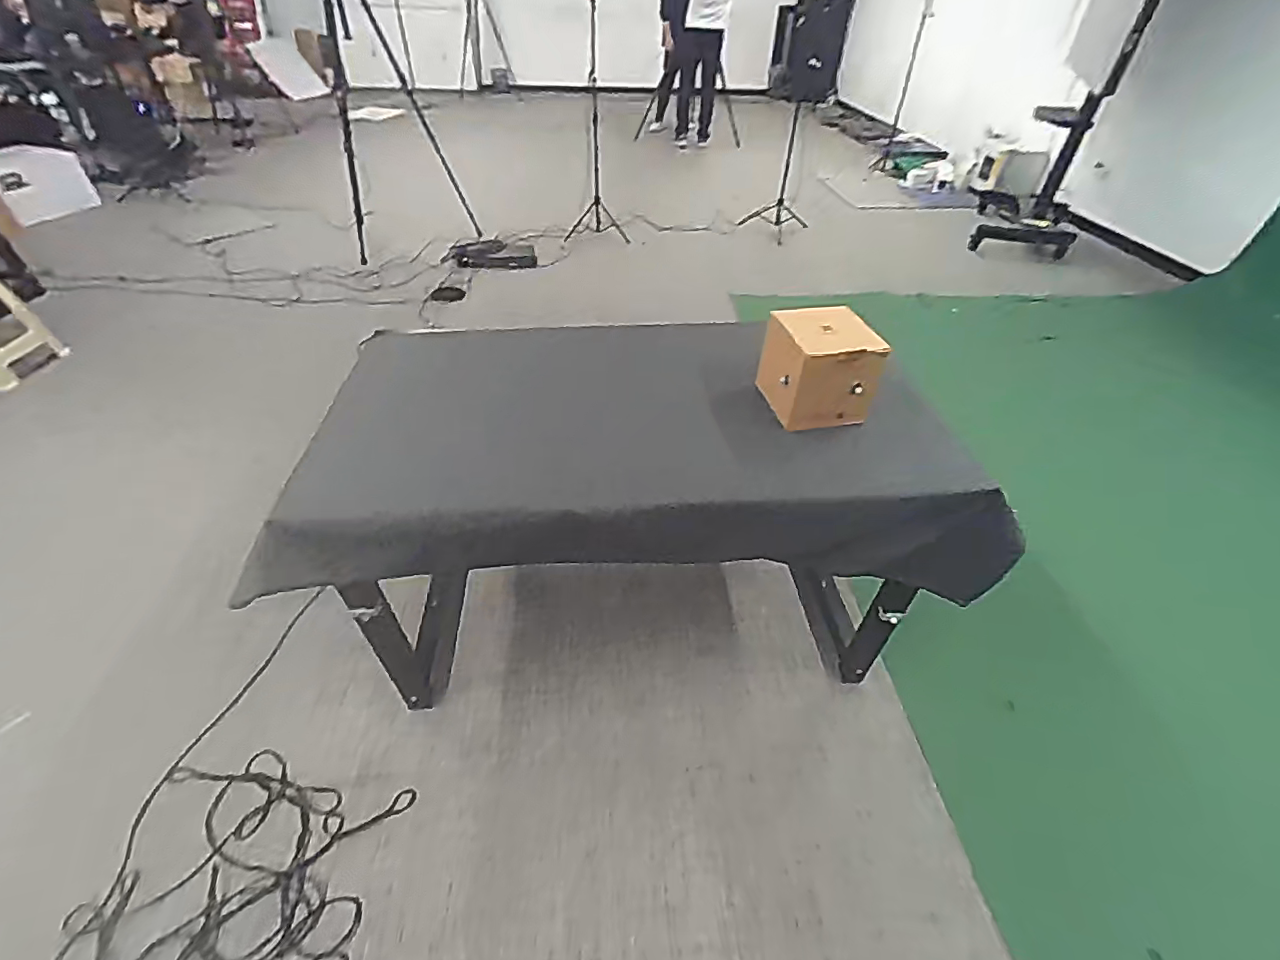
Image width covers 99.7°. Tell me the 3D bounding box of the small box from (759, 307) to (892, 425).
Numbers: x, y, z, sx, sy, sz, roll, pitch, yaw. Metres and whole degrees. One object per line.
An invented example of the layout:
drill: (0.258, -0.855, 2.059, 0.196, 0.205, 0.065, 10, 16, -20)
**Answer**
small box: (0.348, -0.217, 1.050, 0.168, 0.176, 0.179, -6, 42, -10)
